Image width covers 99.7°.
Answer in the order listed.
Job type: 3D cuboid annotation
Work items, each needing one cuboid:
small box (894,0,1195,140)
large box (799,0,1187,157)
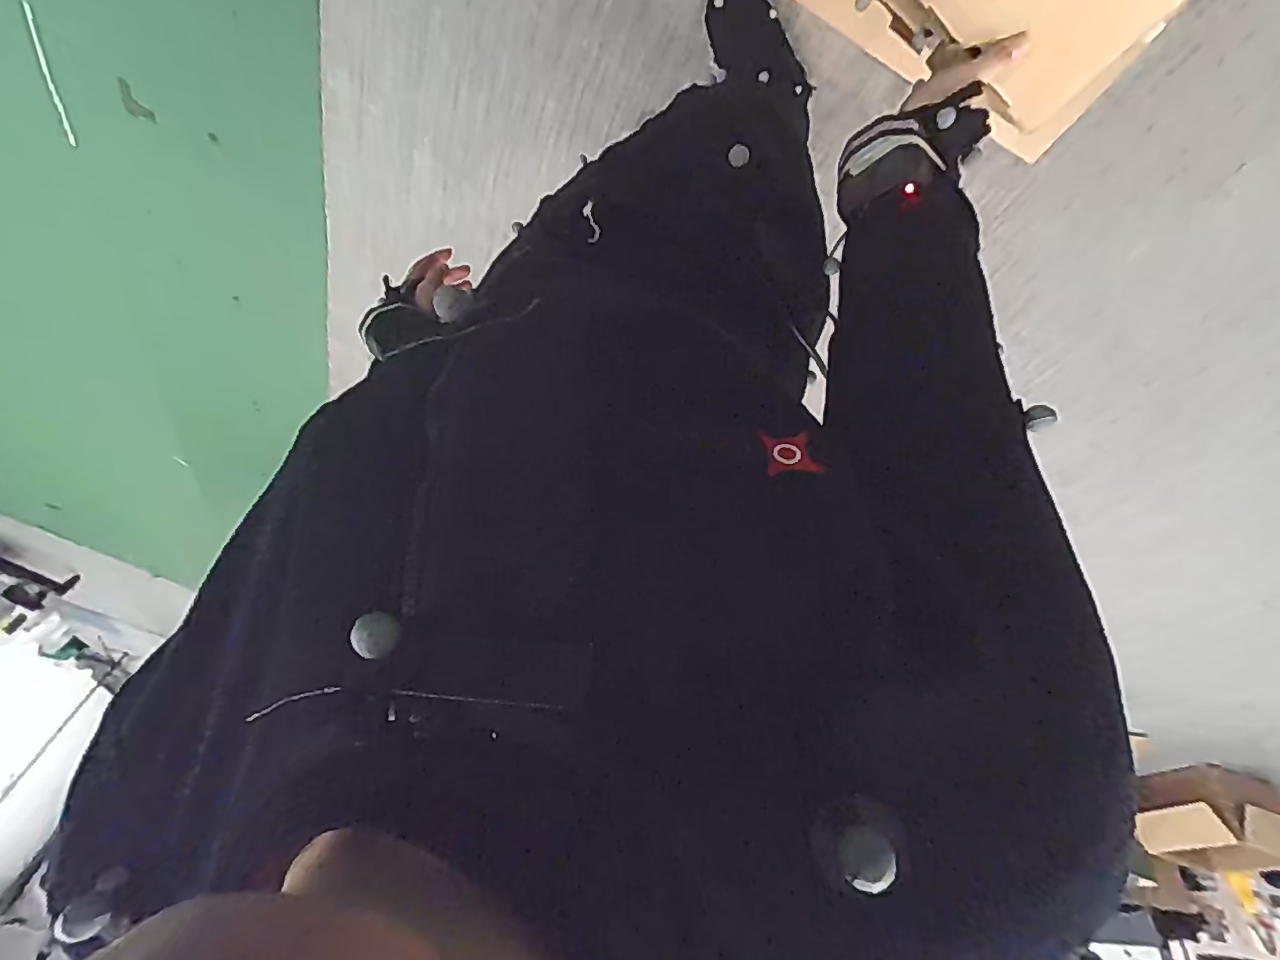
[{"bbox_3d":[0.321,-0.420,0.422,0.168,0.176,0.179,33,133,-19],"label":"small box"},{"bbox_3d":[0.456,-0.708,0.688,0.408,0.320,0.320,25,139,-11],"label":"large box"}]
